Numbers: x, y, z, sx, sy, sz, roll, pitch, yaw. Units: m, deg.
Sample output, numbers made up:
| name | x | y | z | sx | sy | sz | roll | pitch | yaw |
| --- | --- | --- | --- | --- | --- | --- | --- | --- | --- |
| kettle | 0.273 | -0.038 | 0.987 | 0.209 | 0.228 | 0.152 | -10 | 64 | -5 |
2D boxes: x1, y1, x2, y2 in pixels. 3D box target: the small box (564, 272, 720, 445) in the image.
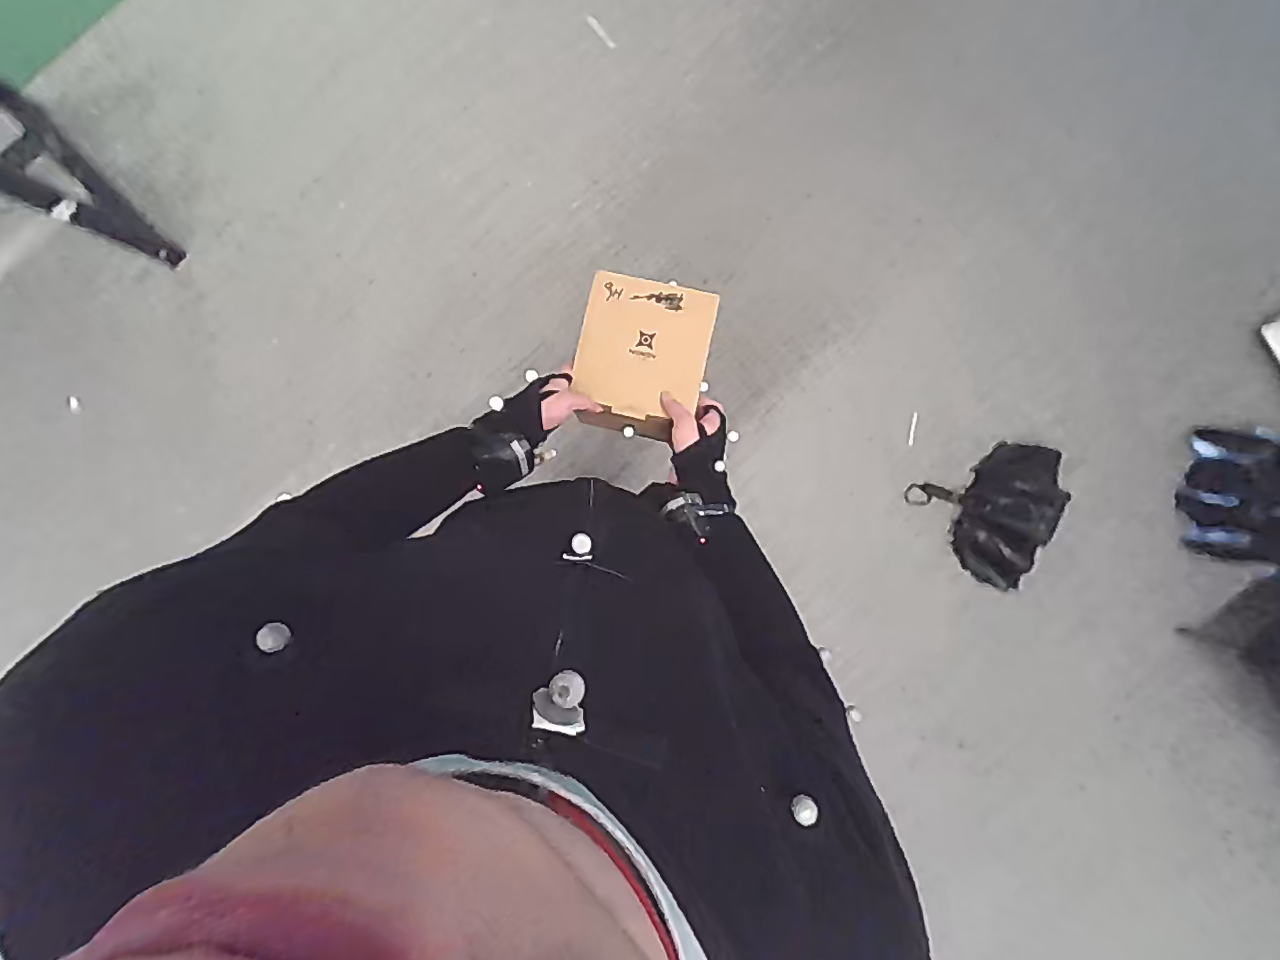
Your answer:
| name | x | y | z | sx | sy | sz | roll | pitch | yaw |
| --- | --- | --- | --- | --- | --- | --- | --- | --- | --- |
| small box | 0.004 | -0.154 | 0.748 | 0.168 | 0.176 | 0.179 | 12 | 86 | 1 |
